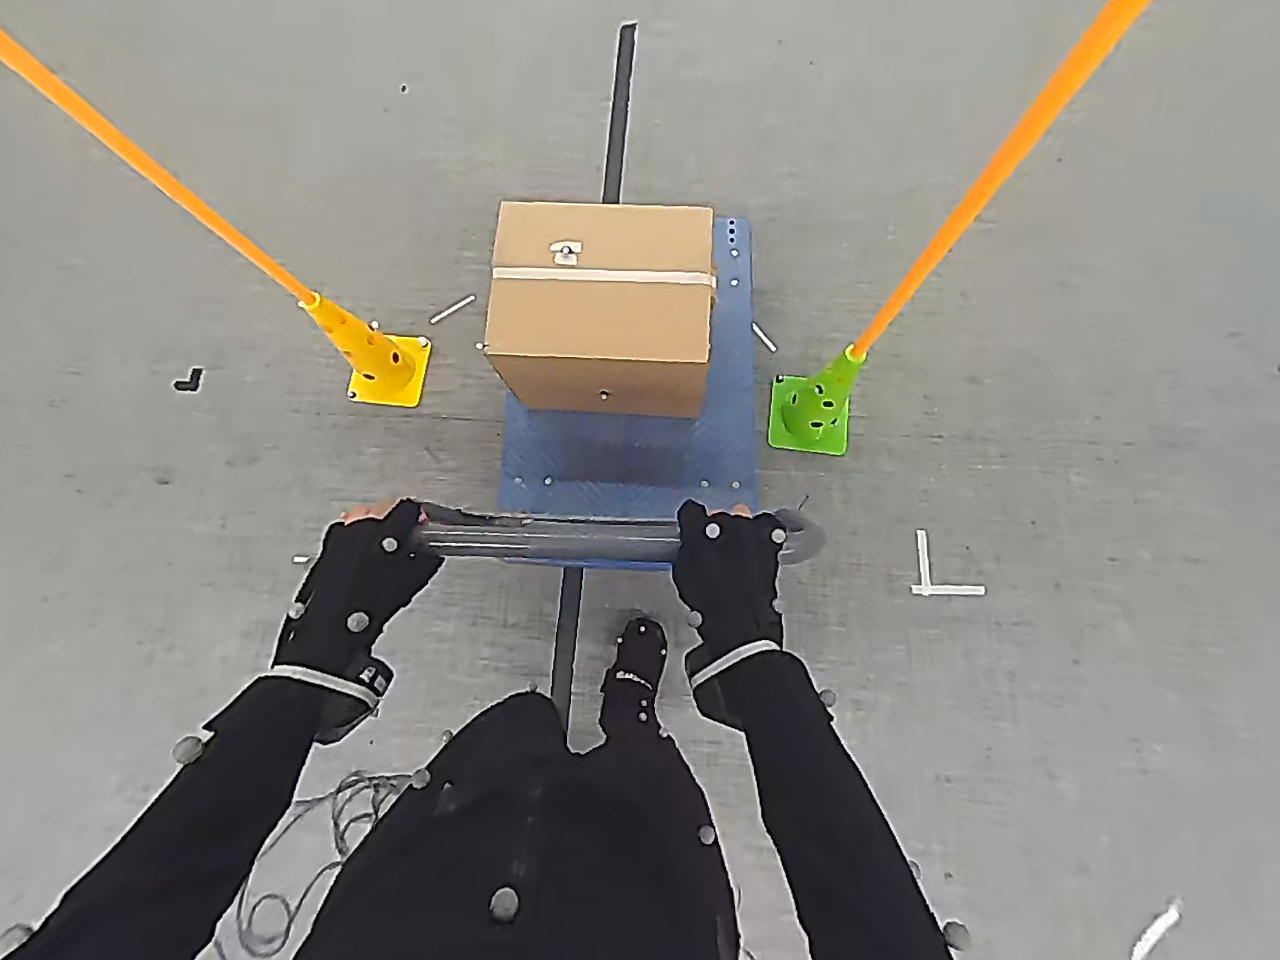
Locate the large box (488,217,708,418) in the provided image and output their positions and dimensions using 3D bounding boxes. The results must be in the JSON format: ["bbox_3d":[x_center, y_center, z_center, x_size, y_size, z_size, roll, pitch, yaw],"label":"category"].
[{"bbox_3d":[-0.065,-0.325,1.151,0.408,0.320,0.320,3,79,4],"label":"large box"}]

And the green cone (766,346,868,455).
[{"bbox_3d":[0.434,-0.207,1.252,0.202,0.368,0.200,7,78,3],"label":"green cone"}]
